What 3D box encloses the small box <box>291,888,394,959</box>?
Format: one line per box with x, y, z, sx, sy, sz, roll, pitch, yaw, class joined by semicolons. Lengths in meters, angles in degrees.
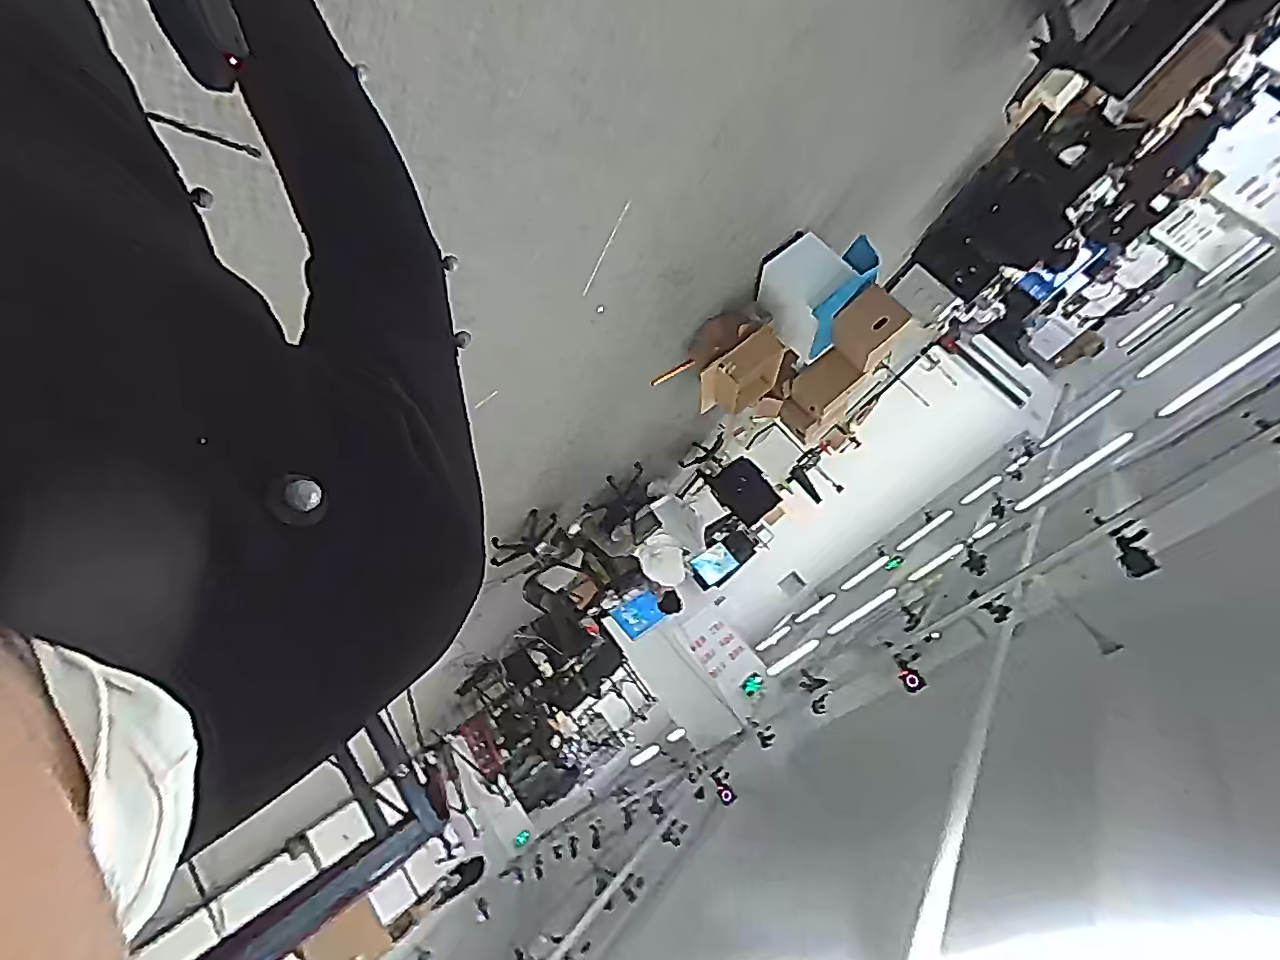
-0.803;1.250;1.455;0.179;0.176;0.168;-19;154;-49;small box
